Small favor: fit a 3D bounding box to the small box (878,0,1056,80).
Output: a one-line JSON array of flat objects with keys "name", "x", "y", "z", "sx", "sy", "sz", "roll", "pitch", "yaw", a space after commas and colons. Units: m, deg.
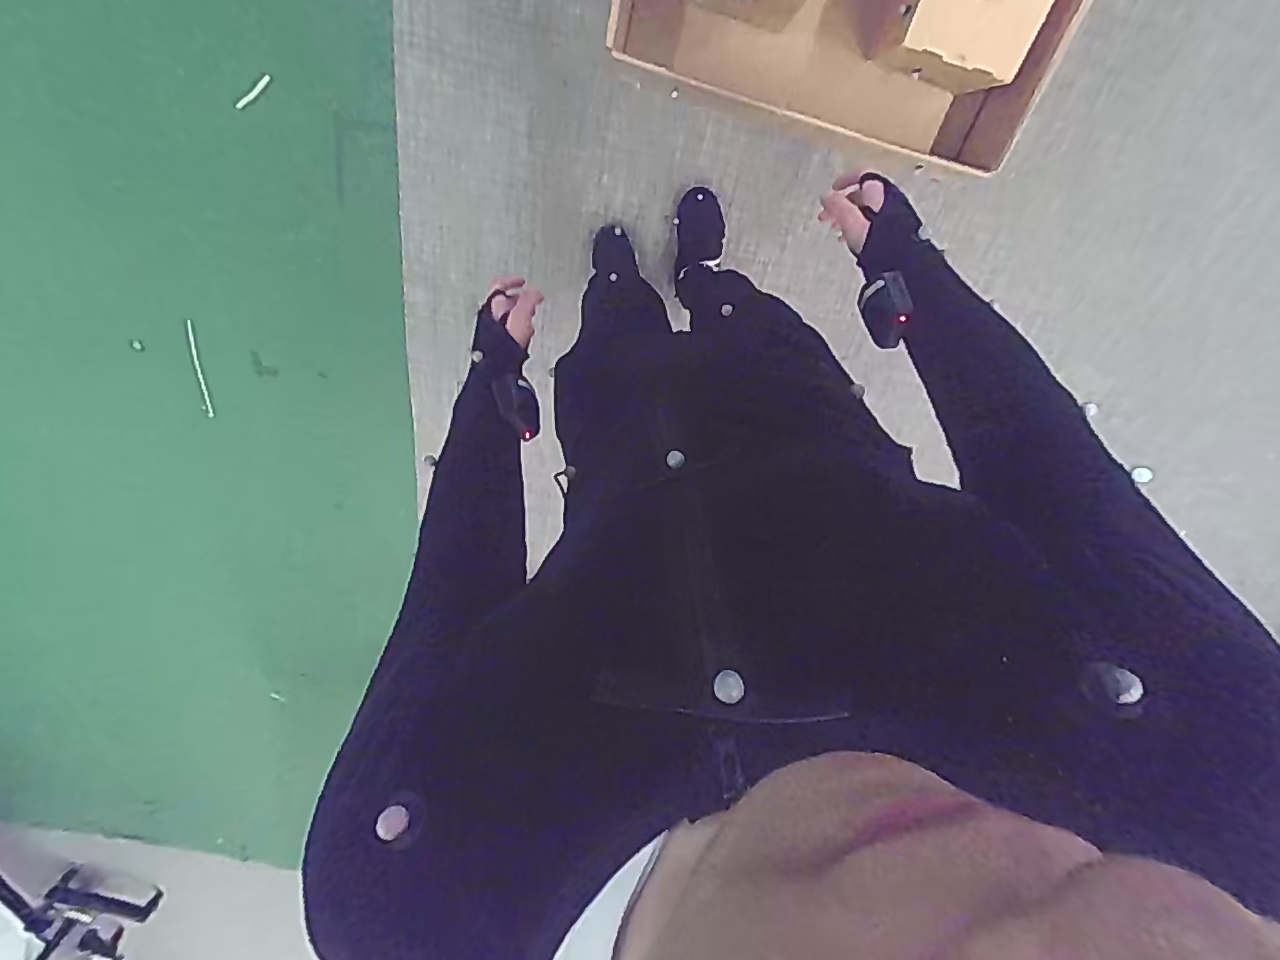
[{"name": "small box", "x": 0.456, "y": -0.679, "z": 0.740, "sx": 0.168, "sy": 0.176, "sz": 0.179, "roll": 14, "pitch": 123, "yaw": -4}]
